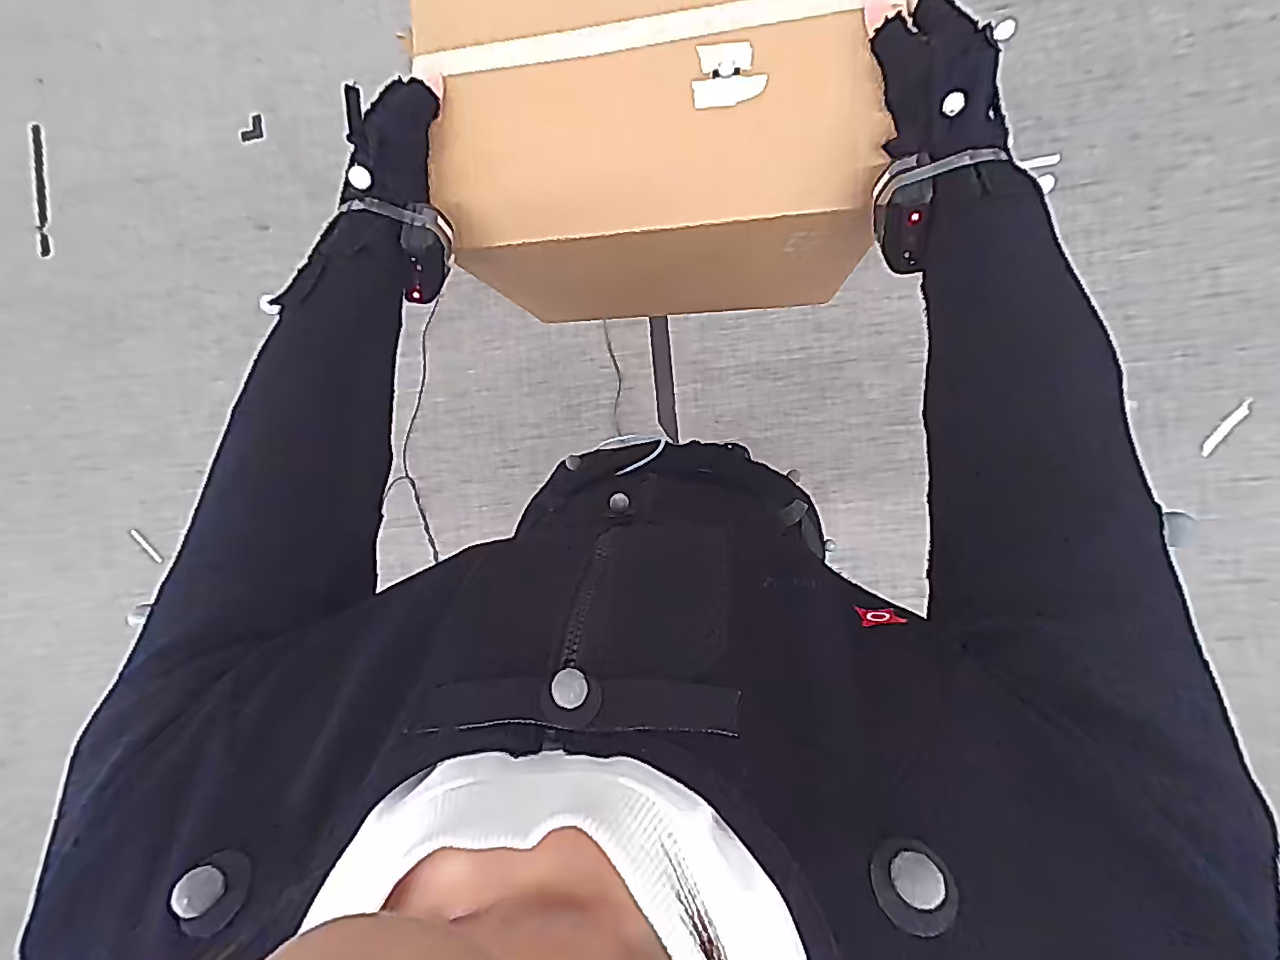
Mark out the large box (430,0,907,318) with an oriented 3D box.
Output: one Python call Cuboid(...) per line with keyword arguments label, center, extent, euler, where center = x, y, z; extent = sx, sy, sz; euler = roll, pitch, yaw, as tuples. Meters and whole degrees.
Cuboid(label="large box", center=(0.030, -0.386, 0.603), extent=(0.408, 0.320, 0.320), euler=(-2, 94, 8))
